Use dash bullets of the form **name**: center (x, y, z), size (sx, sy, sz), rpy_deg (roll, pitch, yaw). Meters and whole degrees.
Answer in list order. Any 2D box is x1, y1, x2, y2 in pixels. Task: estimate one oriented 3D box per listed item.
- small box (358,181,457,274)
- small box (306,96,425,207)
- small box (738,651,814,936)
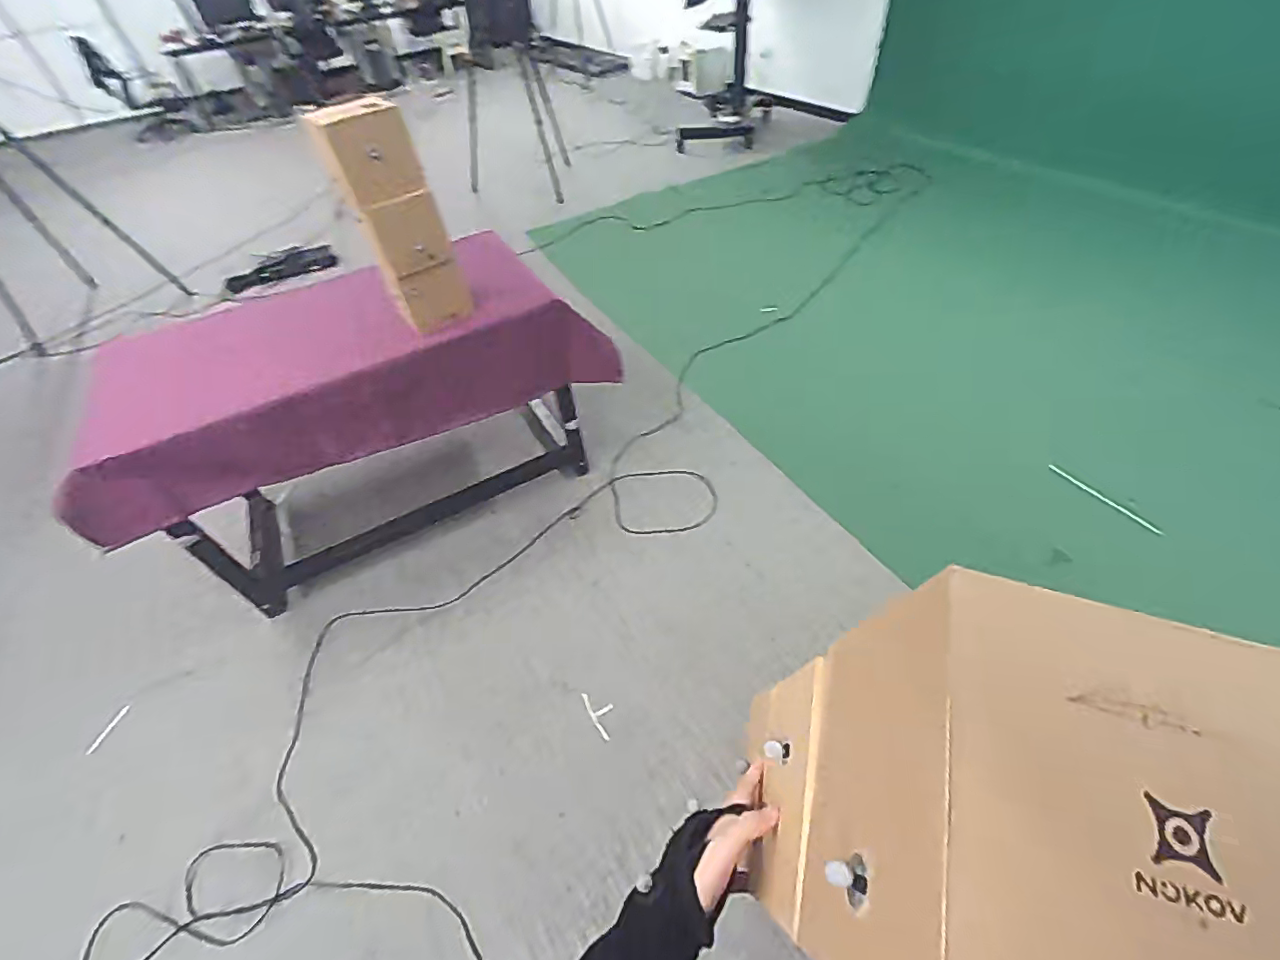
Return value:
- **small box**: center (-0.591, -0.645, 1.363), size (0.168, 0.176, 0.179), rpy_deg (-31, 51, -19)
- **small box**: center (-0.621, -0.758, 1.248), size (0.179, 0.176, 0.168), rpy_deg (-34, 51, -21)
- **small box**: center (0.178, 0.245, 0.408), size (0.179, 0.176, 0.168), rpy_deg (11, 62, 6)
